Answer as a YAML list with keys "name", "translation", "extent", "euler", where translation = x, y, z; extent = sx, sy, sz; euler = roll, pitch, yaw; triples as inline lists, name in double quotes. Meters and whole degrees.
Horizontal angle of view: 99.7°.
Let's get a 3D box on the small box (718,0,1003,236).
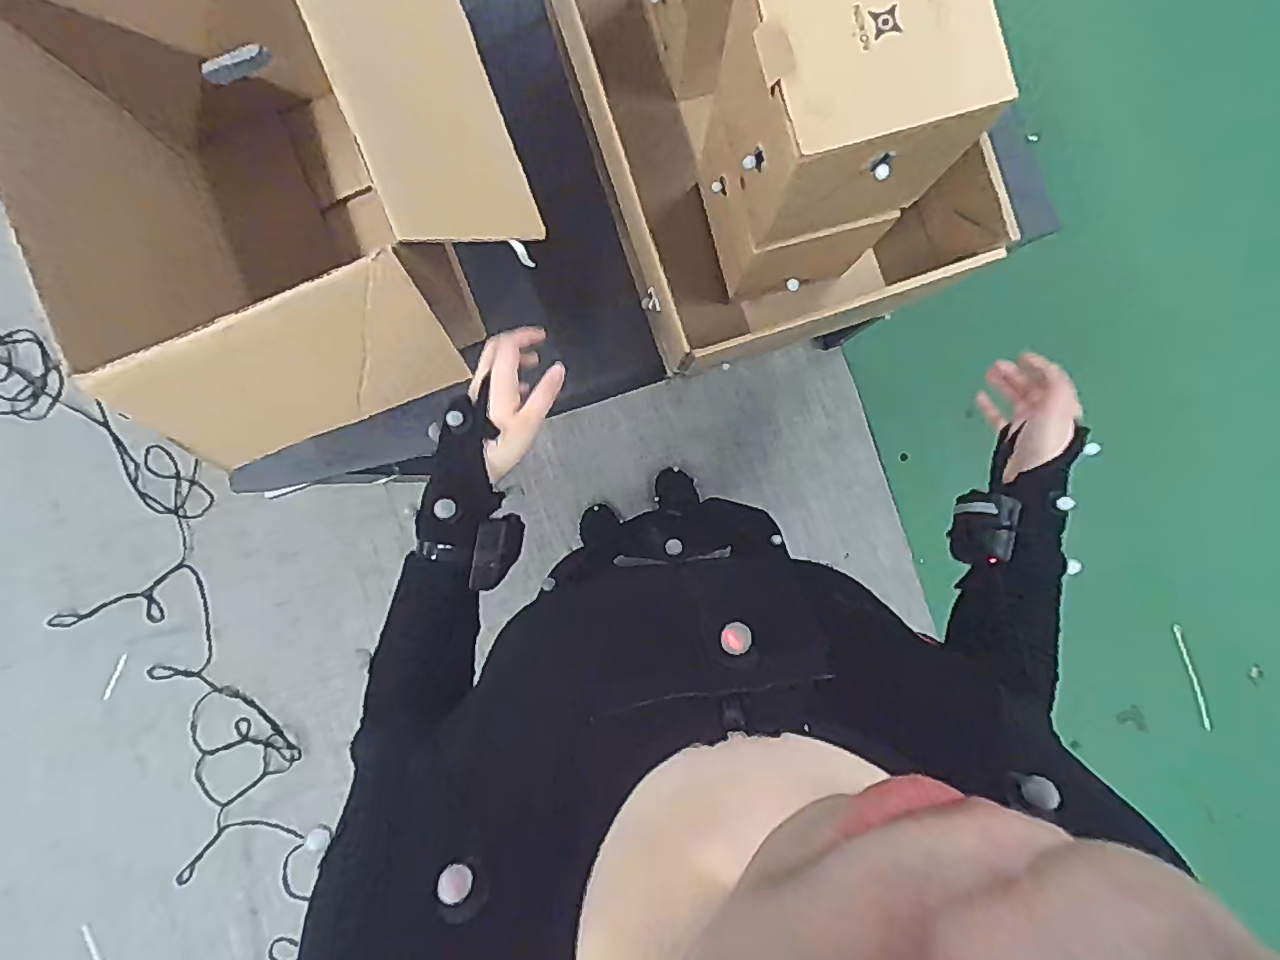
- name: "small box"
  translation: [0.177, -0.352, 0.497]
  extent: [0.179, 0.176, 0.168]
  euler: [-16, 92, -1]
